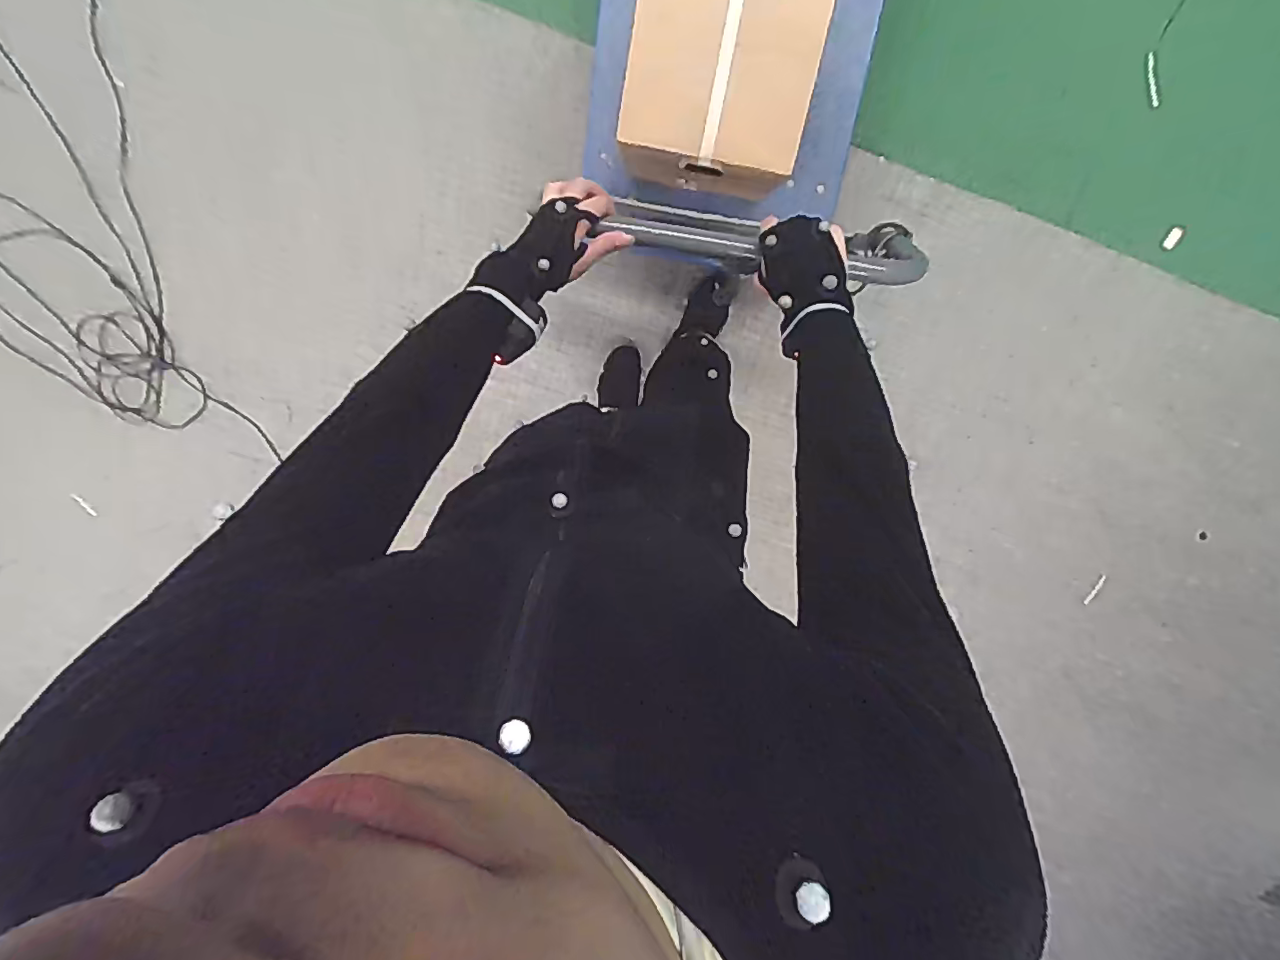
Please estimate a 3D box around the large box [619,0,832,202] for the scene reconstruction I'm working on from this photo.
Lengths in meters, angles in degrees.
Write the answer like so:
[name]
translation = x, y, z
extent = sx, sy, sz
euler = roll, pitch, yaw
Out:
[large box]
translation = 0.154, -0.788, 1.018
extent = 0.320, 0.320, 0.408
euler = 11, 109, -2
